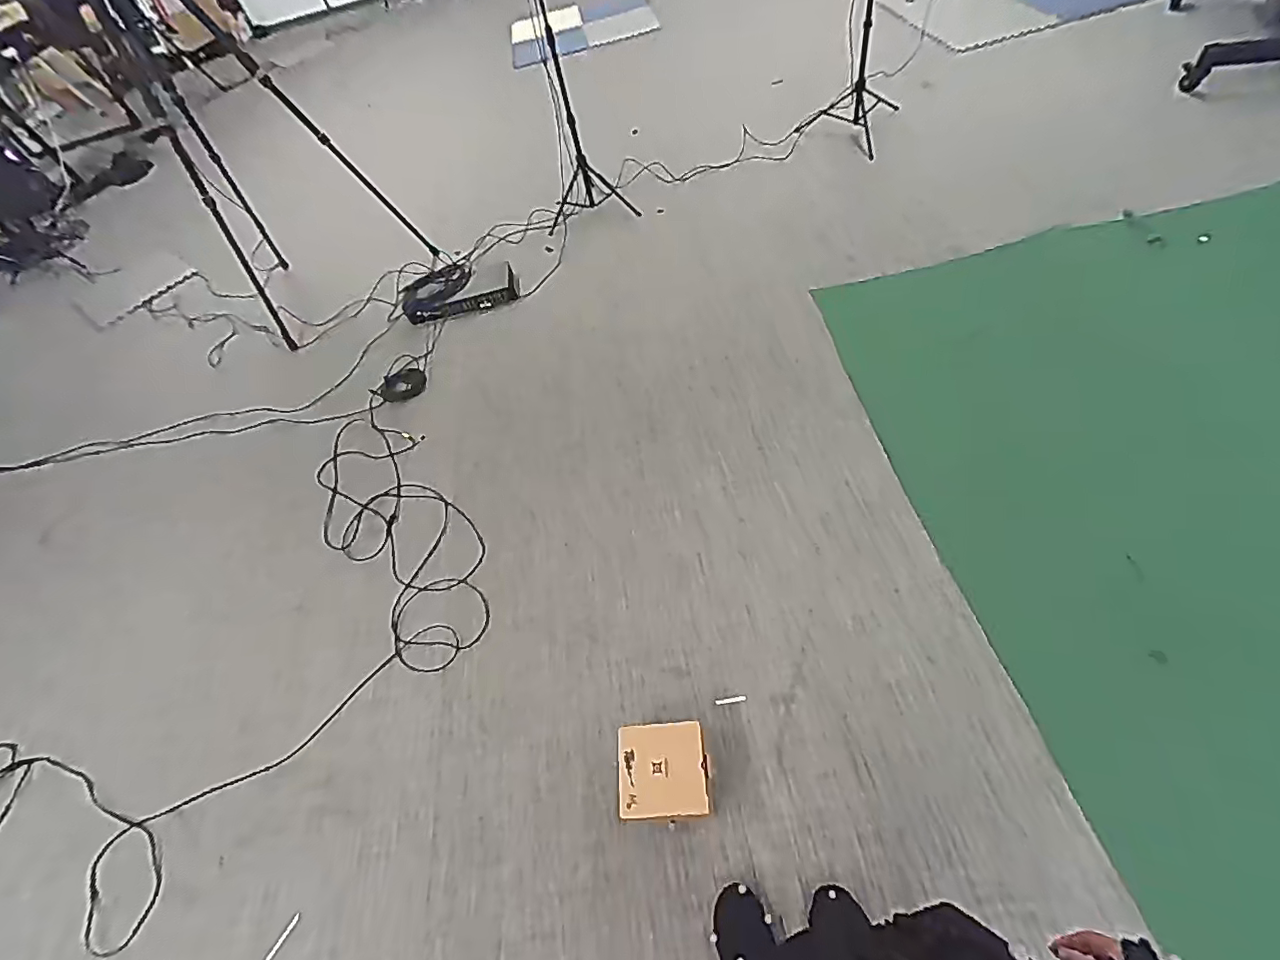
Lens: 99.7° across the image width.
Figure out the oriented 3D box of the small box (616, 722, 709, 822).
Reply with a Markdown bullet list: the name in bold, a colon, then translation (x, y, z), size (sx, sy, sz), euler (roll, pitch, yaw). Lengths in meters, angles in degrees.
- **small box**: translation (0.051, 0.618, 1.140), size (0.179, 0.176, 0.168), euler (-8, 55, 6)
